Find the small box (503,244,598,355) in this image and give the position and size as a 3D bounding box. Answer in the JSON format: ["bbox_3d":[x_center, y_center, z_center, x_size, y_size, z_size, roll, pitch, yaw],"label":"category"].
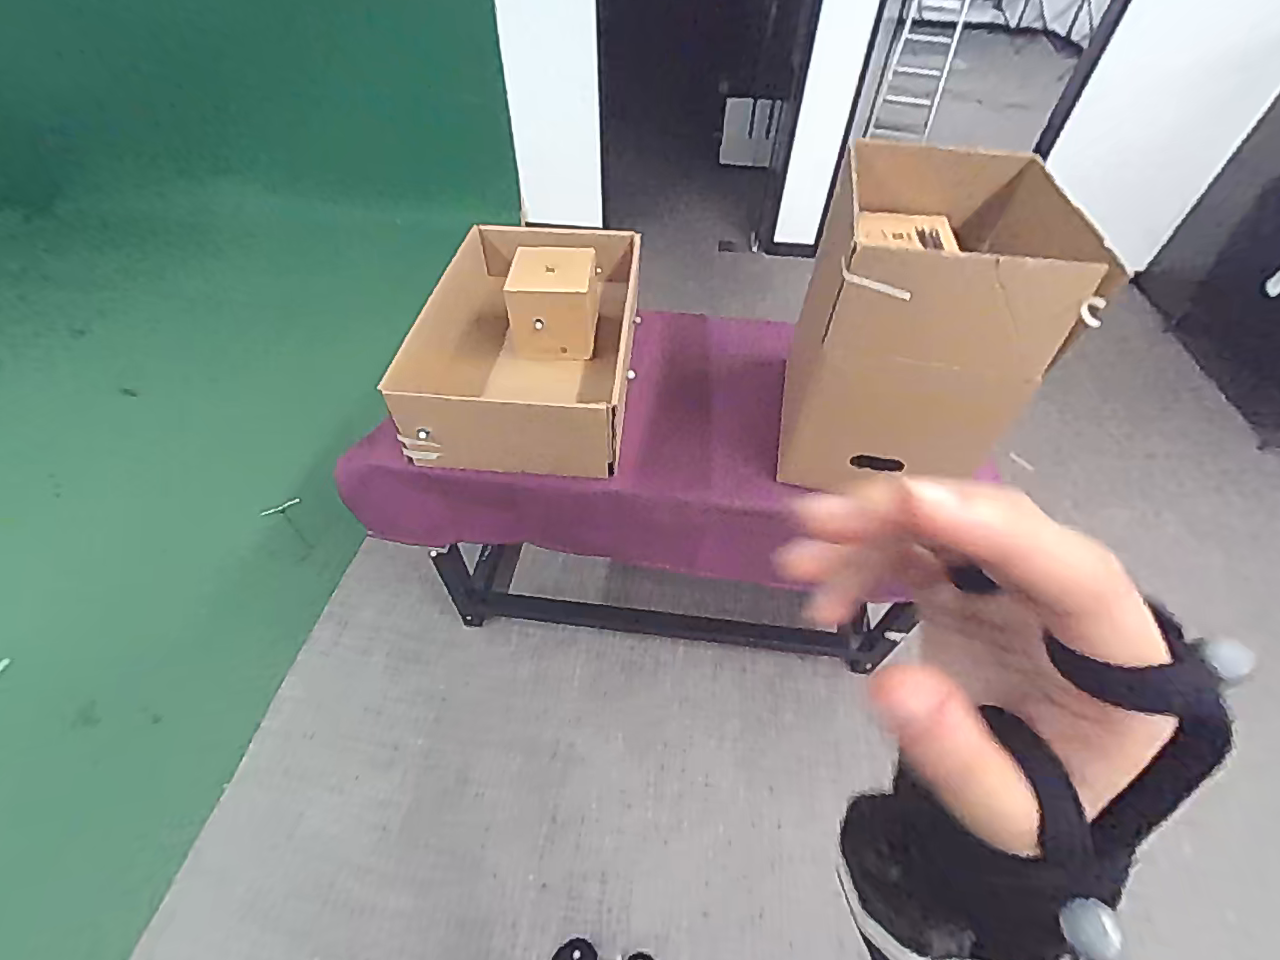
[{"bbox_3d":[-0.182,-0.383,1.156,0.168,0.176,0.179,1,50,1],"label":"small box"}]
